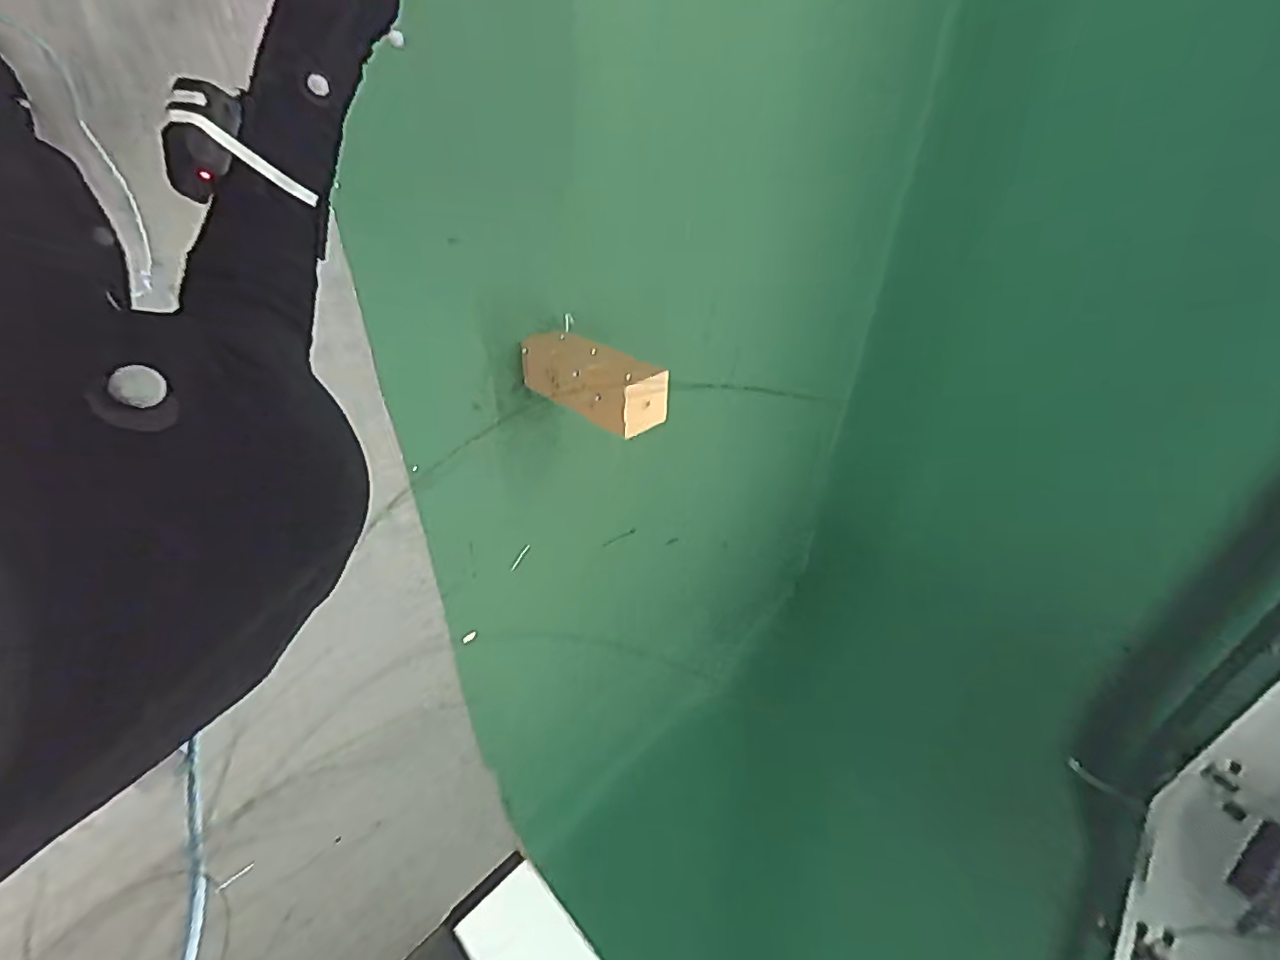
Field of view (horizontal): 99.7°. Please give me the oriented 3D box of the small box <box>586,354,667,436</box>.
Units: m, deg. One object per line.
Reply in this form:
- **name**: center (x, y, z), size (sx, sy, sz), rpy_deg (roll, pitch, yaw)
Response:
- **small box**: center (-0.042, -0.259, 1.609), size (0.179, 0.176, 0.168), rpy_deg (-29, 135, -36)

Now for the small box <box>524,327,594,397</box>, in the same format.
- **small box**: center (-0.273, -0.397, 1.797), size (0.179, 0.176, 0.168), rpy_deg (-27, 133, -38)
